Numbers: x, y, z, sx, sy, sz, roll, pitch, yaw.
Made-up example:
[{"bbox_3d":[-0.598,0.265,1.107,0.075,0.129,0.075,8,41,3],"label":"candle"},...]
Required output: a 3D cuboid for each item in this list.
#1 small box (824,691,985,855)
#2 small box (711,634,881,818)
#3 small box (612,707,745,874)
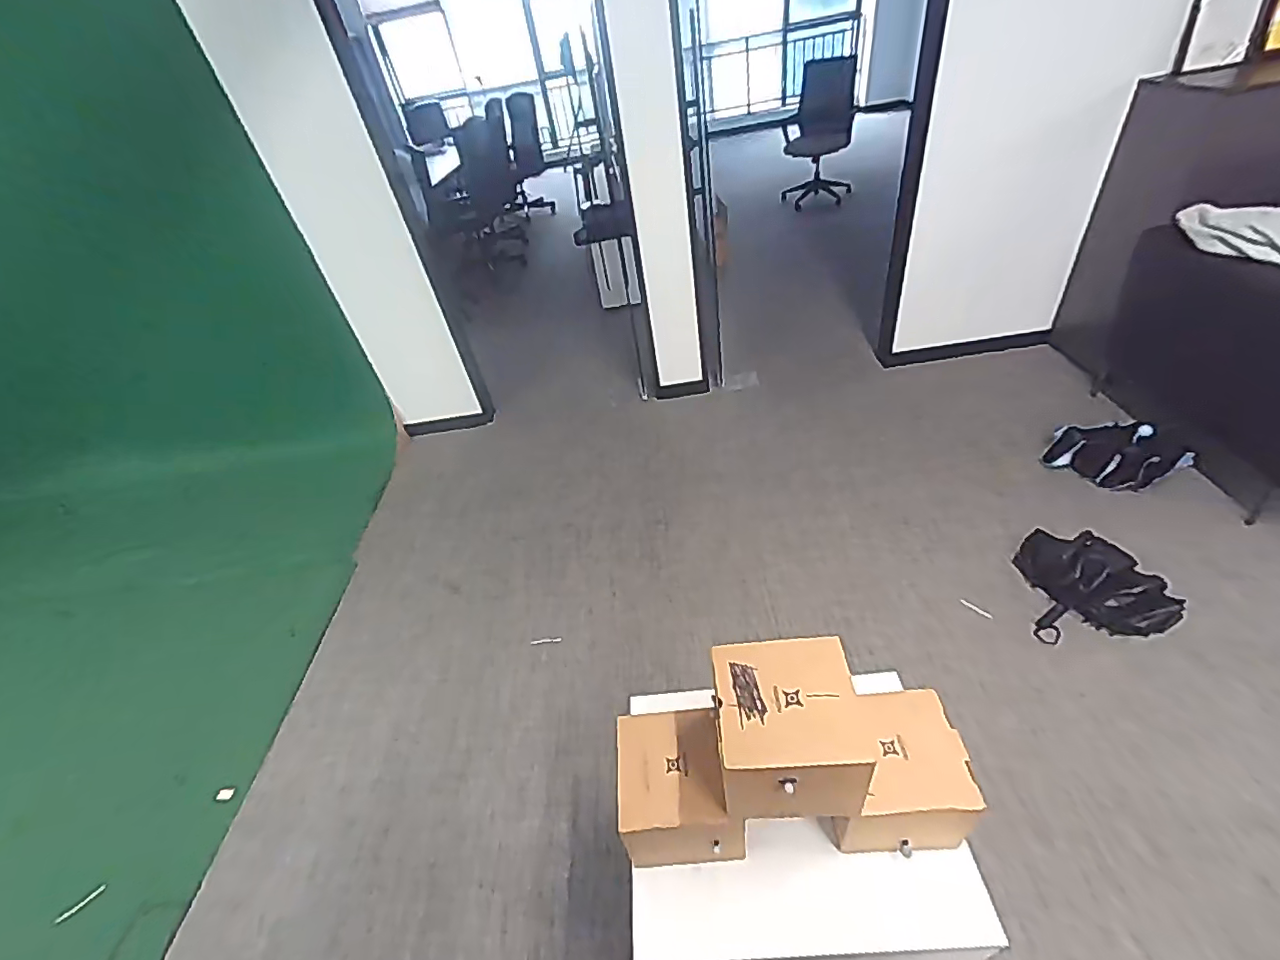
[{"bbox_3d":[0.365,0.438,0.808,0.179,0.176,0.168,-6,40,4],"label":"small box"},{"bbox_3d":[0.192,0.325,0.713,0.179,0.176,0.168,-5,40,4],"label":"small box"},{"bbox_3d":[0.054,0.470,0.819,0.179,0.176,0.168,-7,38,1],"label":"small box"}]
